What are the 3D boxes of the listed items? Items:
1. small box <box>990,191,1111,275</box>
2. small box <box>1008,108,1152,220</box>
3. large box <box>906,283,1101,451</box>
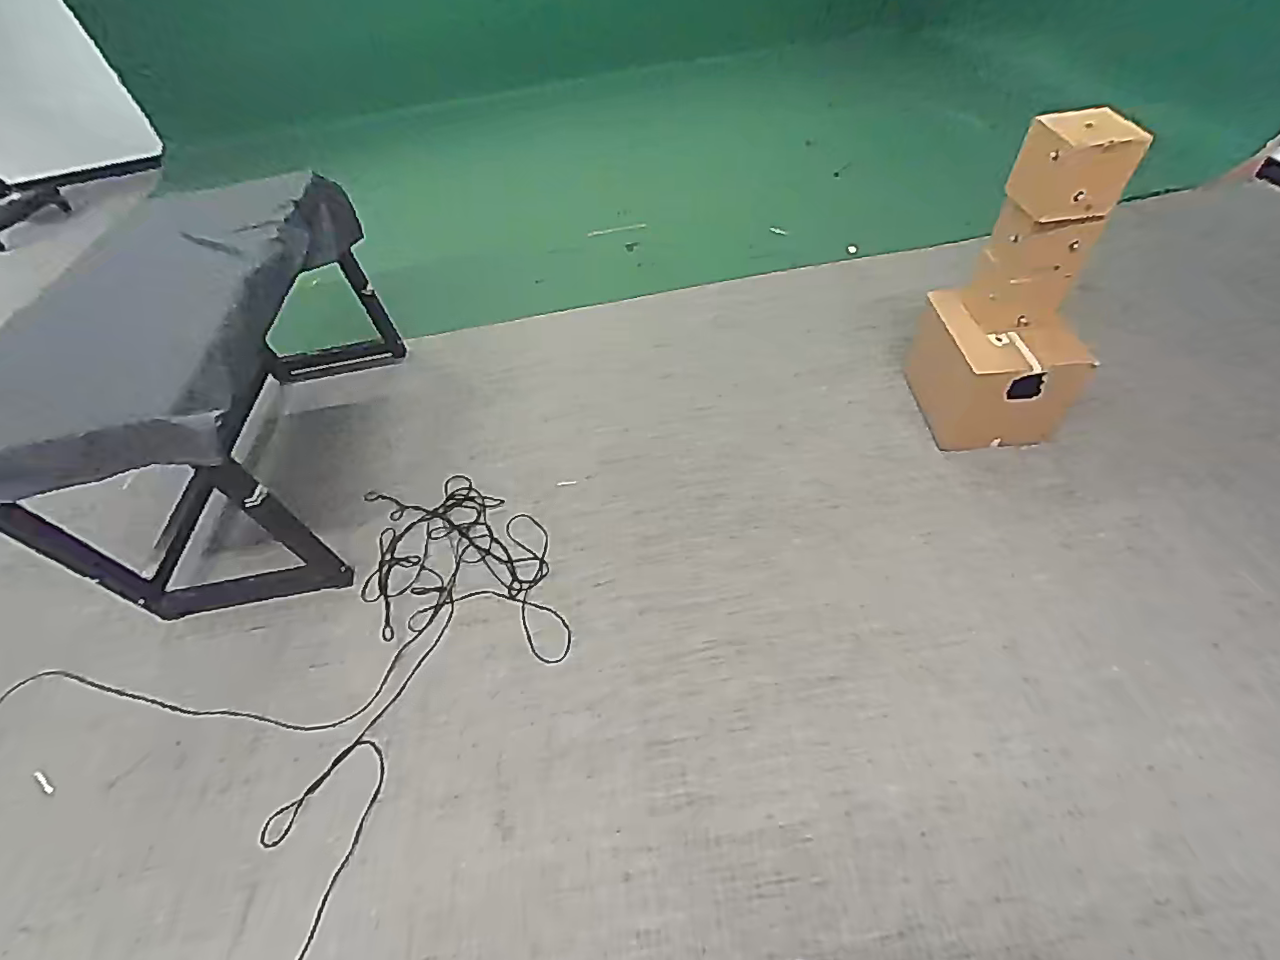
[{"bbox_3d":[1.039,-0.643,1.389,0.168,0.176,0.179,-1,51,7],"label":"small box"},{"bbox_3d":[1.003,-0.732,1.256,0.168,0.176,0.179,-6,52,3],"label":"small box"},{"bbox_3d":[1.077,-0.347,1.671,0.320,0.320,0.408,-6,52,6],"label":"large box"}]
